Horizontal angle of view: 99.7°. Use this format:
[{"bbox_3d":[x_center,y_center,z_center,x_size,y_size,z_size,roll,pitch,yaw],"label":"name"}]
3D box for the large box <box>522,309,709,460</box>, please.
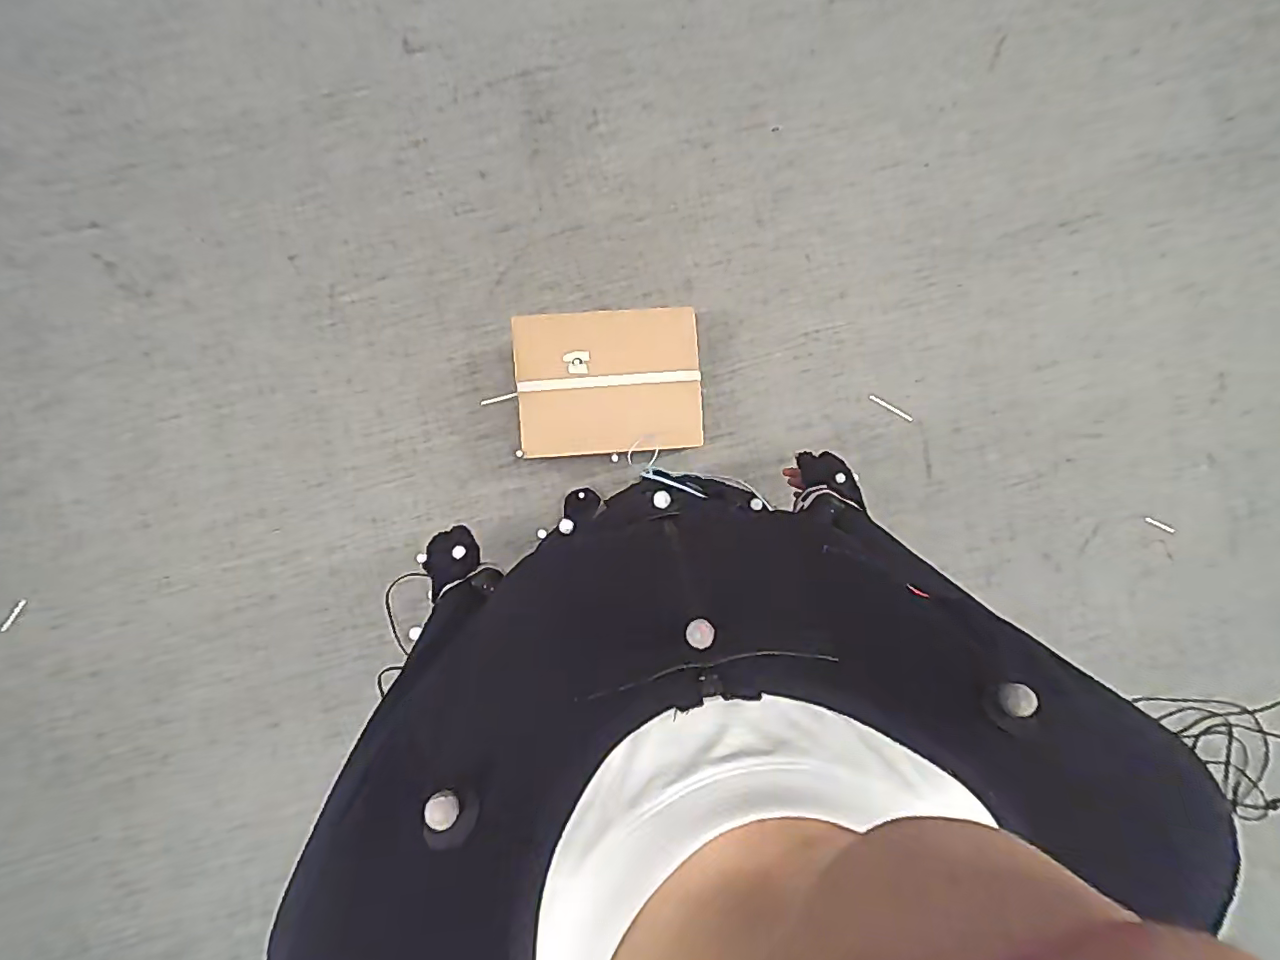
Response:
[{"bbox_3d":[-0.055,-0.220,1.353,0.408,0.320,0.320,-4,91,-1],"label":"large box"}]
